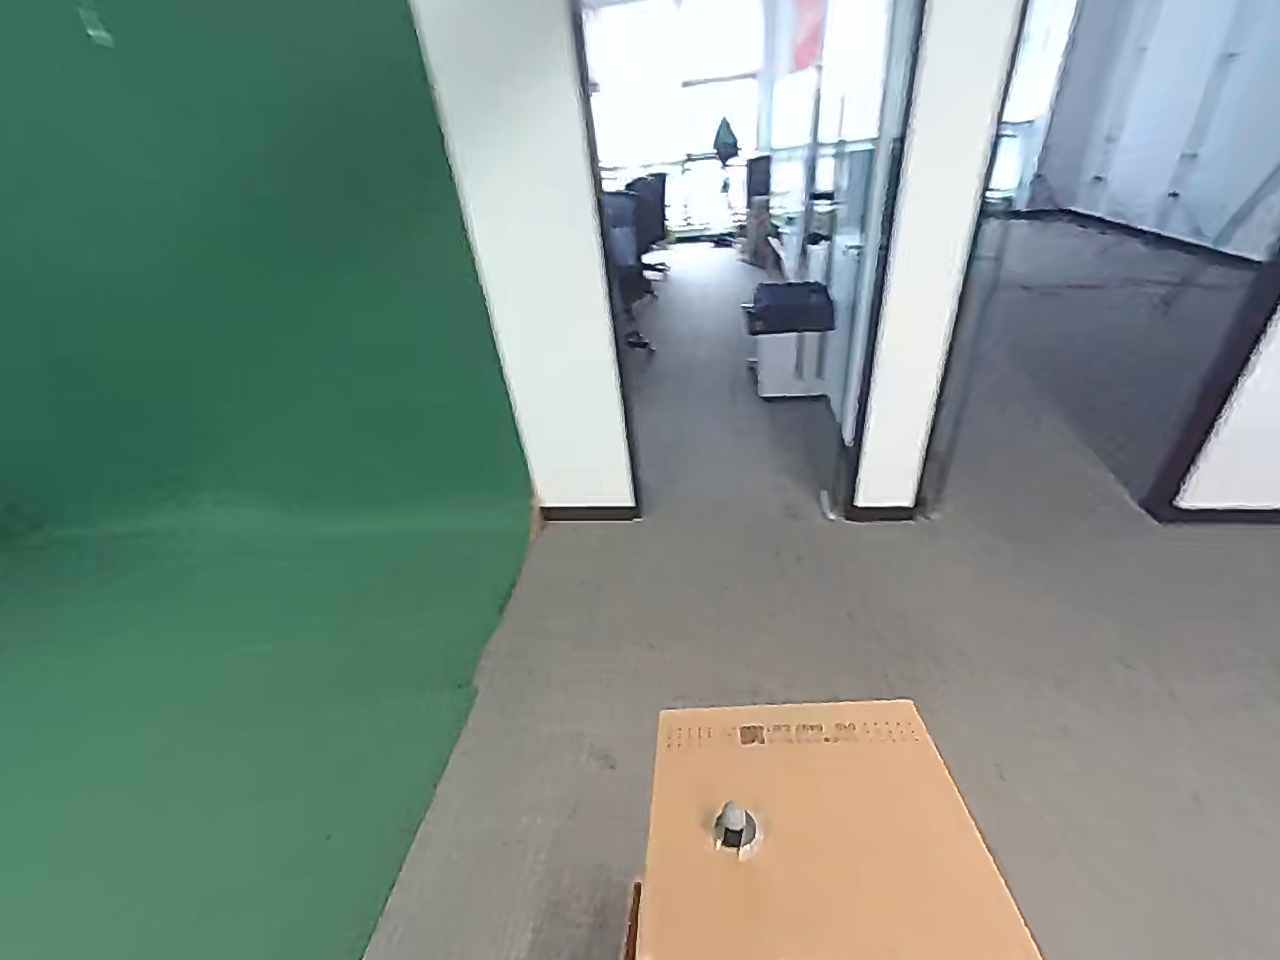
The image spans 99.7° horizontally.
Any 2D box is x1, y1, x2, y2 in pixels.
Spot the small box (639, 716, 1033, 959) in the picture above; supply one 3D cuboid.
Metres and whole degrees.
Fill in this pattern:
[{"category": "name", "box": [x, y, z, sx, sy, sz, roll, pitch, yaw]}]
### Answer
[{"category": "small box", "box": [0.092, 0.257, 0.308, 0.168, 0.179, 0.176, -5, 20, 8]}]
